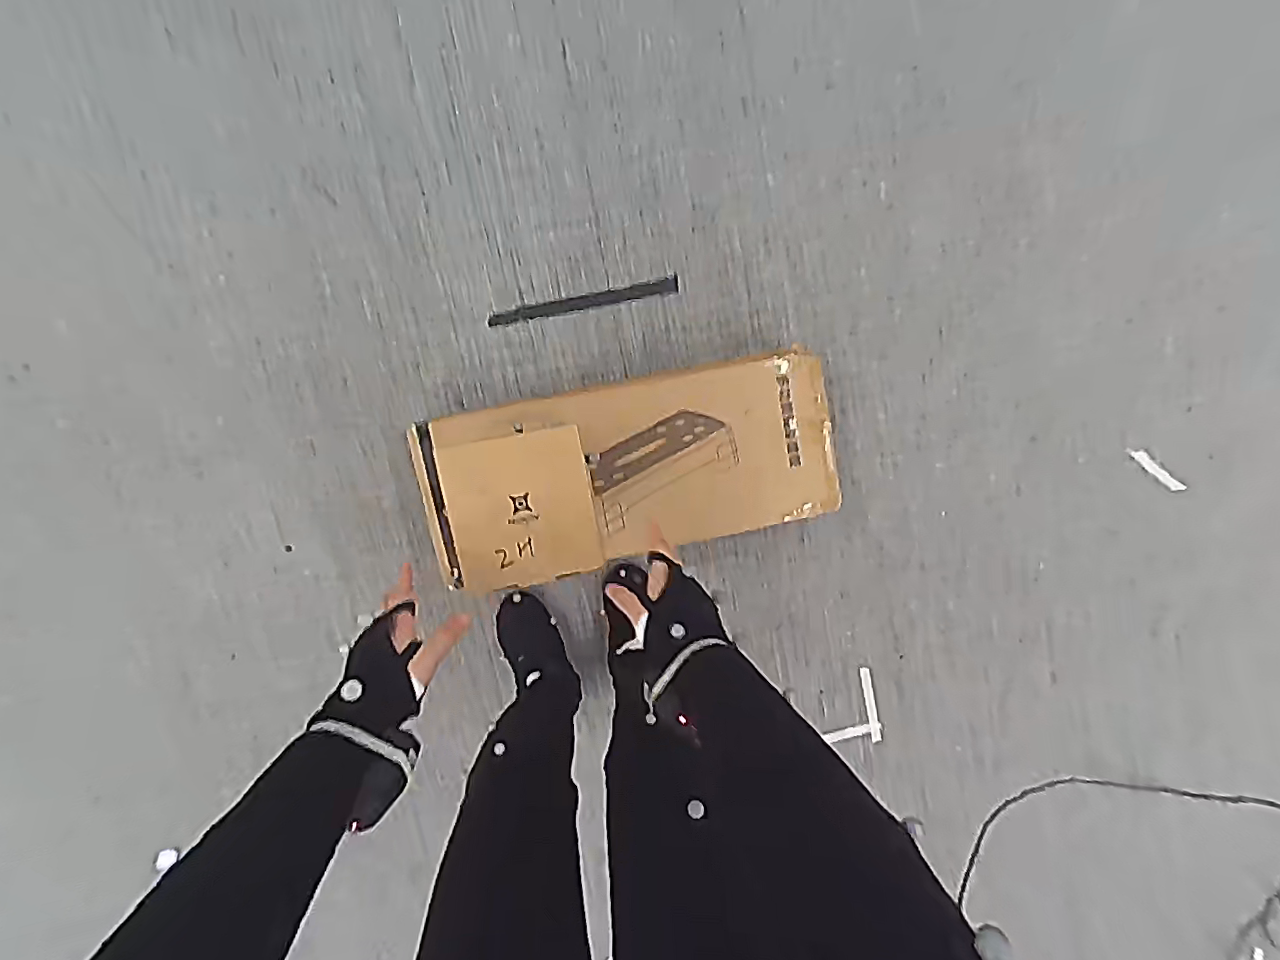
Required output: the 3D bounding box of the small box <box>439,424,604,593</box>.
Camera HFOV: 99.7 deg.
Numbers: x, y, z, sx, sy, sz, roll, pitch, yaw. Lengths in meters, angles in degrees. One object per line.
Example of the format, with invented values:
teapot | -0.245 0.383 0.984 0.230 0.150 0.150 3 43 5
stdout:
small box | -0.145 0.027 0.709 0.168 0.176 0.179 -11 97 -4
